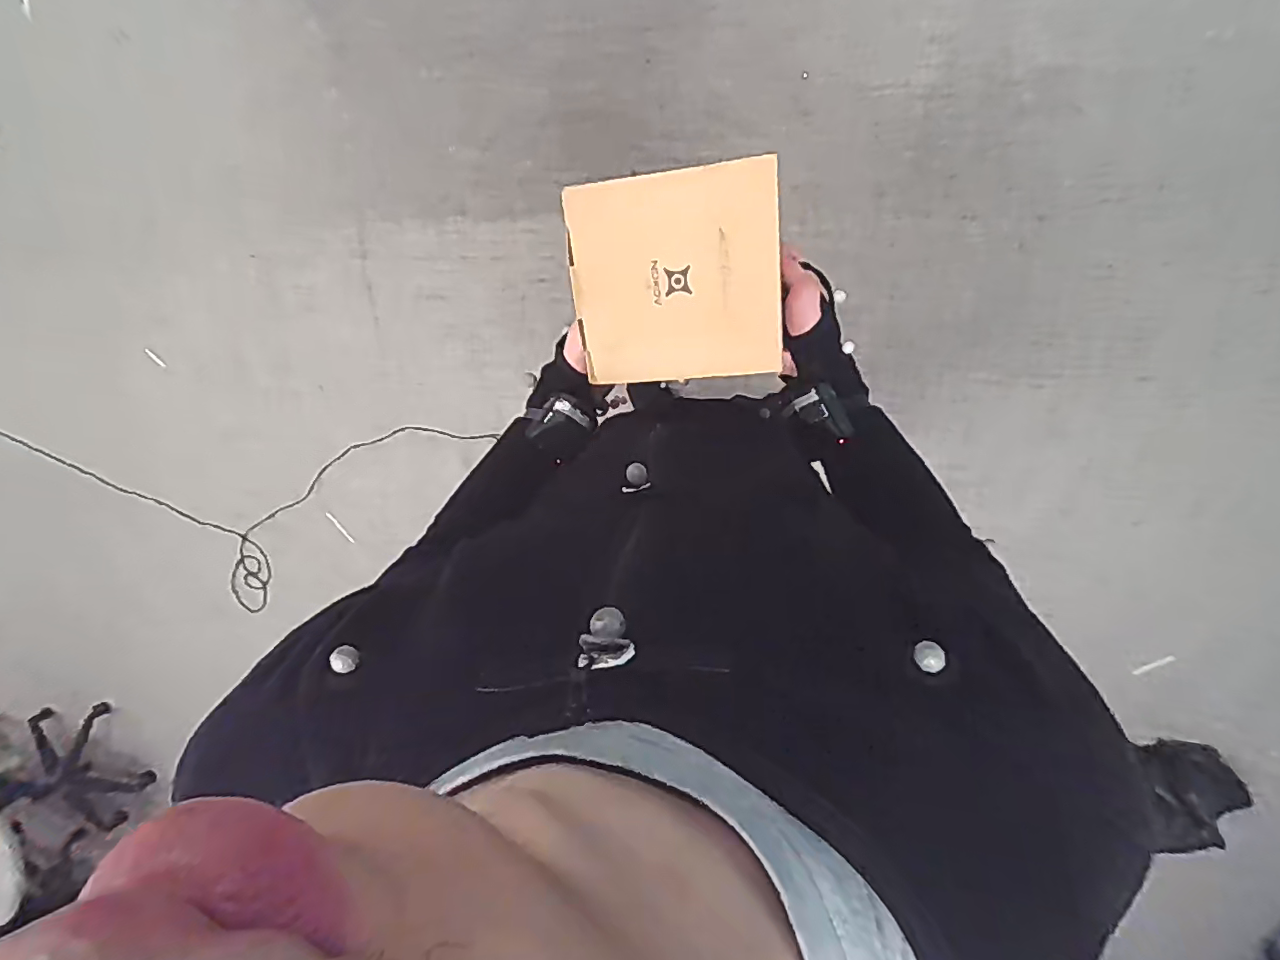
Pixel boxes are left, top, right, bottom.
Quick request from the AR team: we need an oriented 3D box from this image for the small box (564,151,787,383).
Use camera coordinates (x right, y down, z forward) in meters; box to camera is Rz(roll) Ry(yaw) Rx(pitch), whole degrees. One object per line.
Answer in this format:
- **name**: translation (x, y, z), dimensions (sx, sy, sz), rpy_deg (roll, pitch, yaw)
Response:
- **small box**: translation (0.048, -0.197, 0.523), dimensions (0.179, 0.176, 0.168), rpy_deg (-3, 113, 14)

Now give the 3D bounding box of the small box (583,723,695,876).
- **small box**: translation (0.002, 0.588, 1.017), dimensions (0.179, 0.176, 0.168), rpy_deg (3, 104, 13)
